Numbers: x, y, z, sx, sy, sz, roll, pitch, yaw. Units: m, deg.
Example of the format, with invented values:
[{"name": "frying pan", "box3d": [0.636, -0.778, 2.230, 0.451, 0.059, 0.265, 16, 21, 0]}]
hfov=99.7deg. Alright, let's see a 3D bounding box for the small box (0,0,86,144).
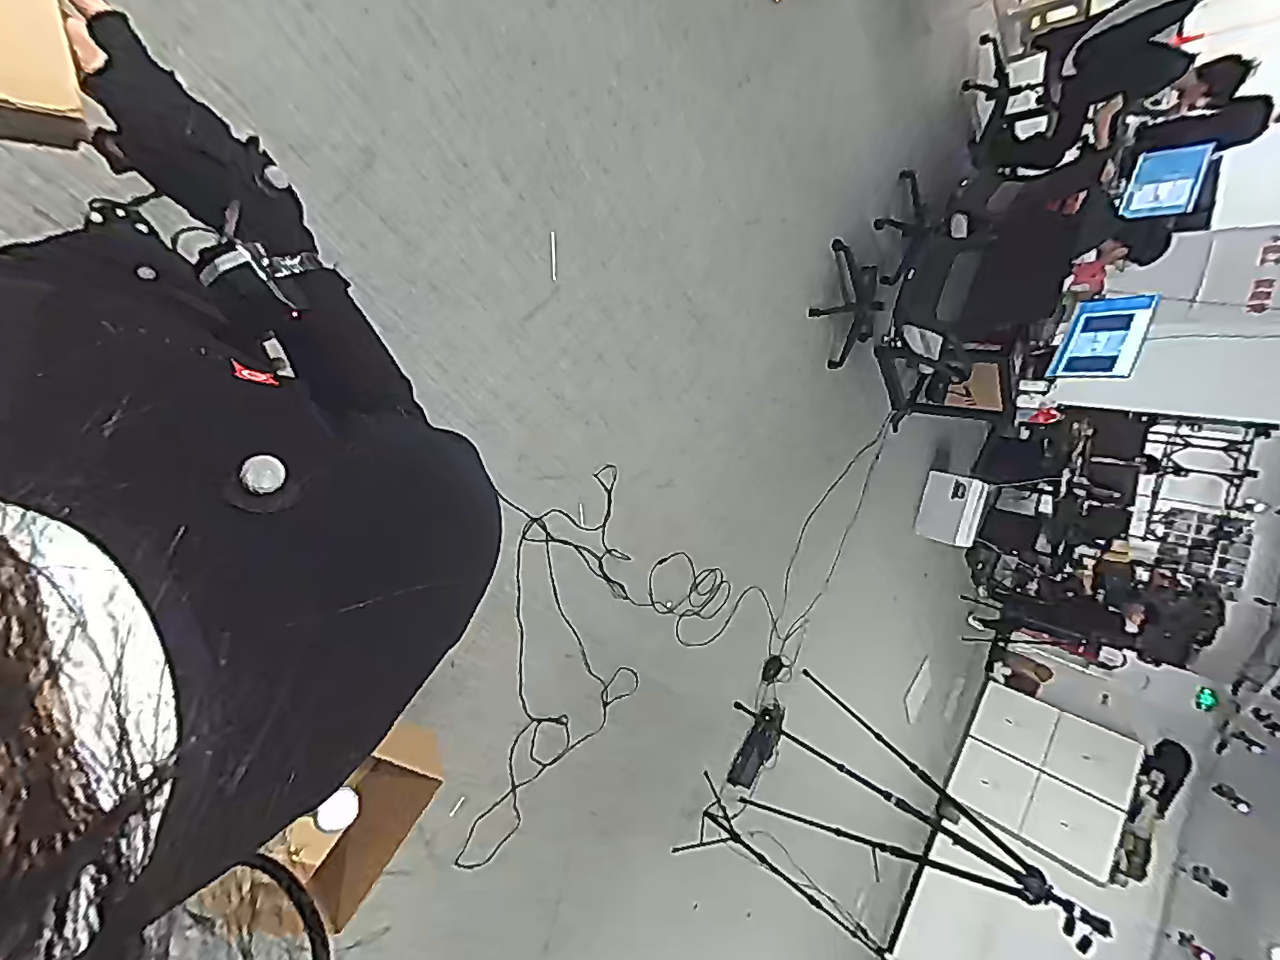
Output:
[{"name": "small box", "box3d": [-0.435, -0.303, 0.285, 0.168, 0.176, 0.179, -16, 118, -43]}]
